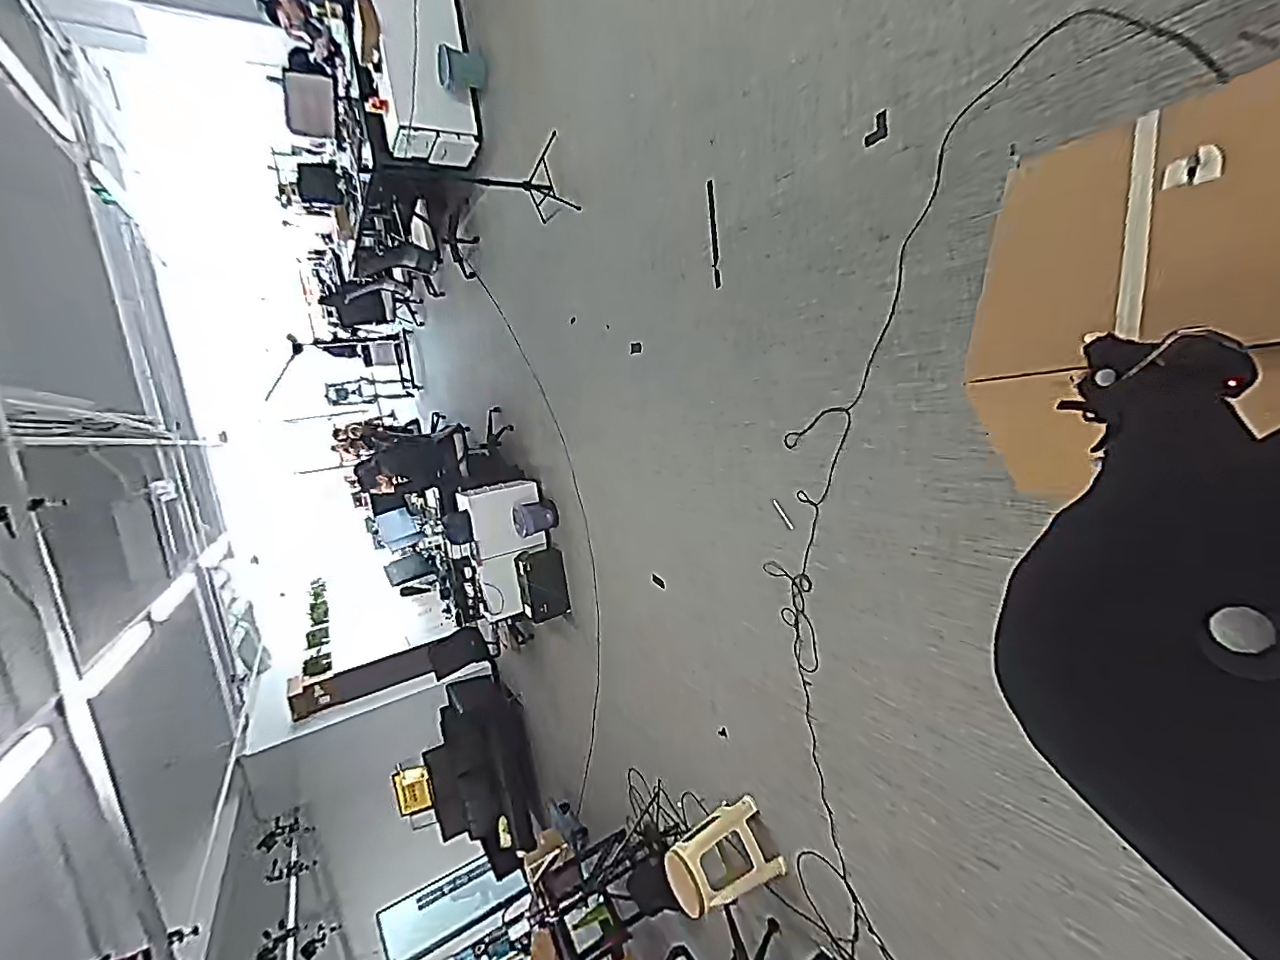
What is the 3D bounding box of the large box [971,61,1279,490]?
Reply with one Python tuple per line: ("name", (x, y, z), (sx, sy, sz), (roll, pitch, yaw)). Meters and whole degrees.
("large box", (0.689, -0.229, 0.720), (0.320, 0.320, 0.408), (1, 62, 49))
